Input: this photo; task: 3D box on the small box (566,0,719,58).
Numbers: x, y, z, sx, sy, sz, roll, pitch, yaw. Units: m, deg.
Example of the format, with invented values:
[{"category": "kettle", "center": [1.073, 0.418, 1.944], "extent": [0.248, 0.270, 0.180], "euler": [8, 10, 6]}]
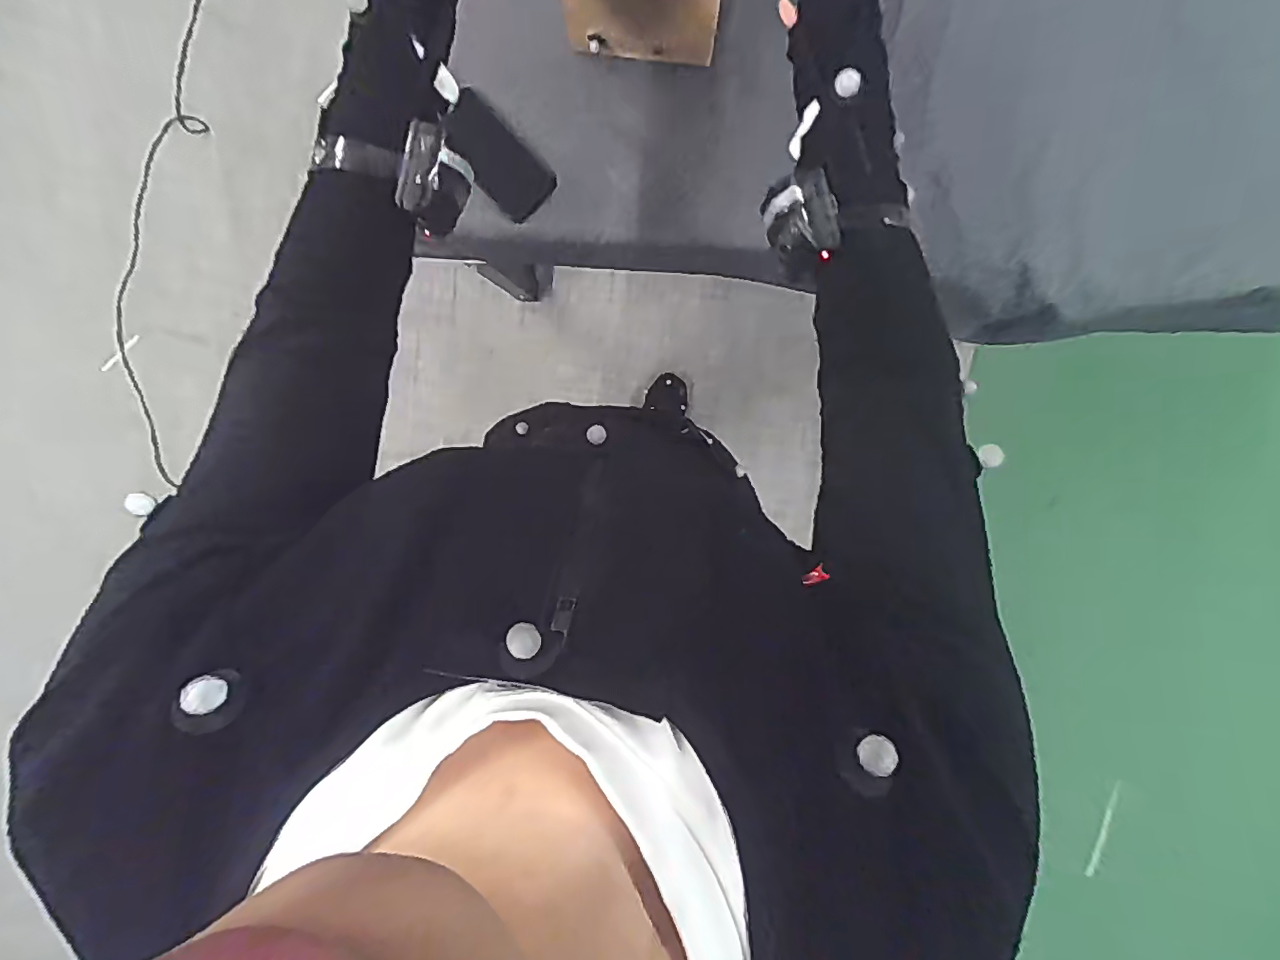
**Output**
[{"category": "small box", "center": [0.009, -0.573, 0.545], "extent": [0.168, 0.176, 0.179], "euler": [8, 98, 0]}]
